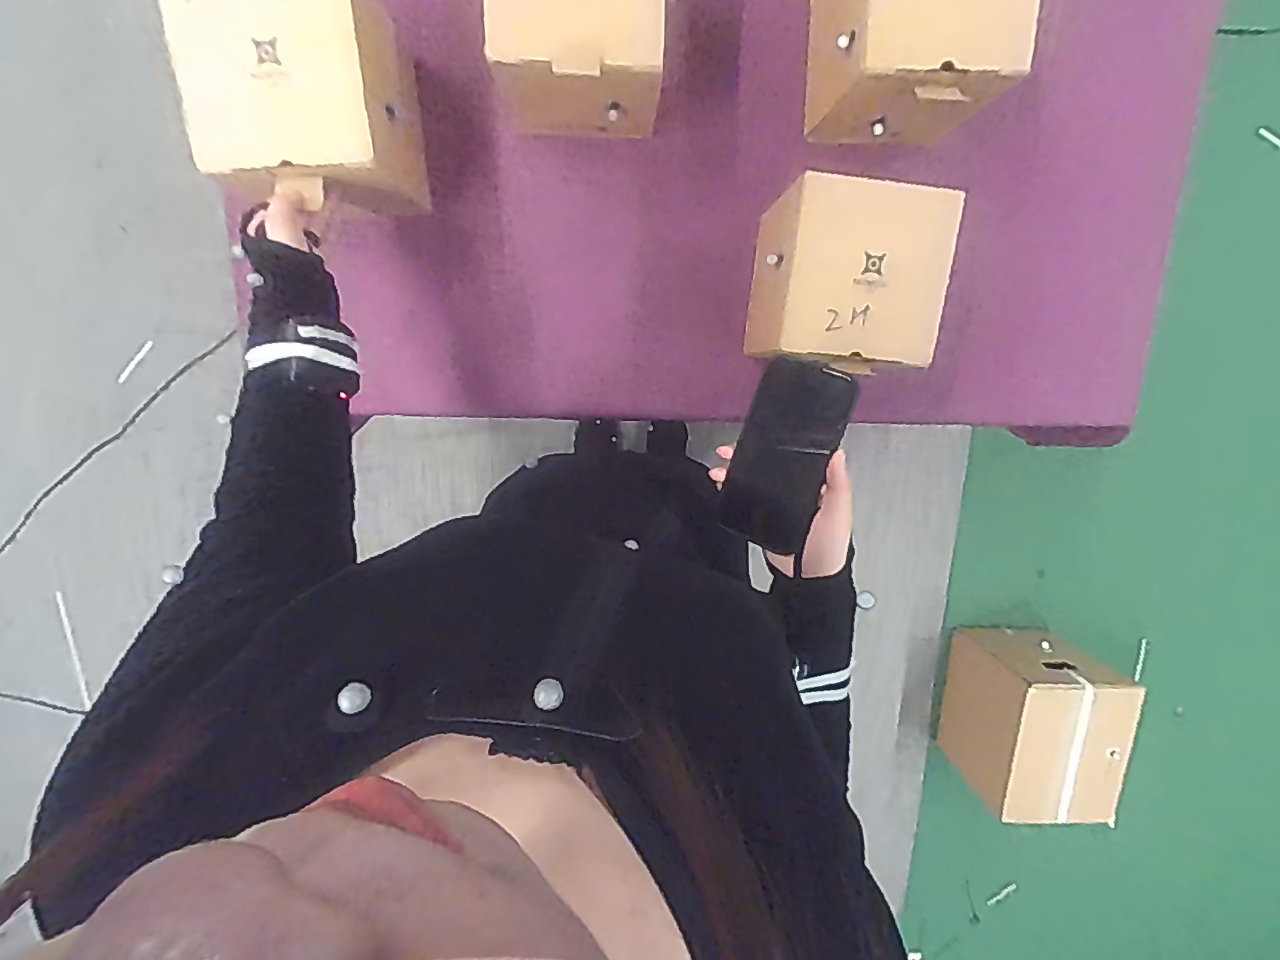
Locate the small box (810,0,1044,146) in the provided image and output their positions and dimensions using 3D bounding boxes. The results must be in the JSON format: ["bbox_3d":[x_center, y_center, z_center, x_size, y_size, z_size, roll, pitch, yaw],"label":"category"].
[{"bbox_3d":[0.291,-0.486,0.575,0.168,0.176,0.179,-1,103,-2],"label":"small box"}]

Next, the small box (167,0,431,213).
[{"bbox_3d":[-0.334,-0.391,0.568,0.168,0.176,0.179,-4,103,-2],"label":"small box"}]

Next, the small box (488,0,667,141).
[{"bbox_3d":[-0.058,-0.479,0.562,0.168,0.176,0.179,1,102,-4],"label":"small box"}]

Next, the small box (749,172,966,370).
[{"bbox_3d":[0.233,-0.225,0.627,0.168,0.176,0.179,6,102,-3],"label":"small box"}]
